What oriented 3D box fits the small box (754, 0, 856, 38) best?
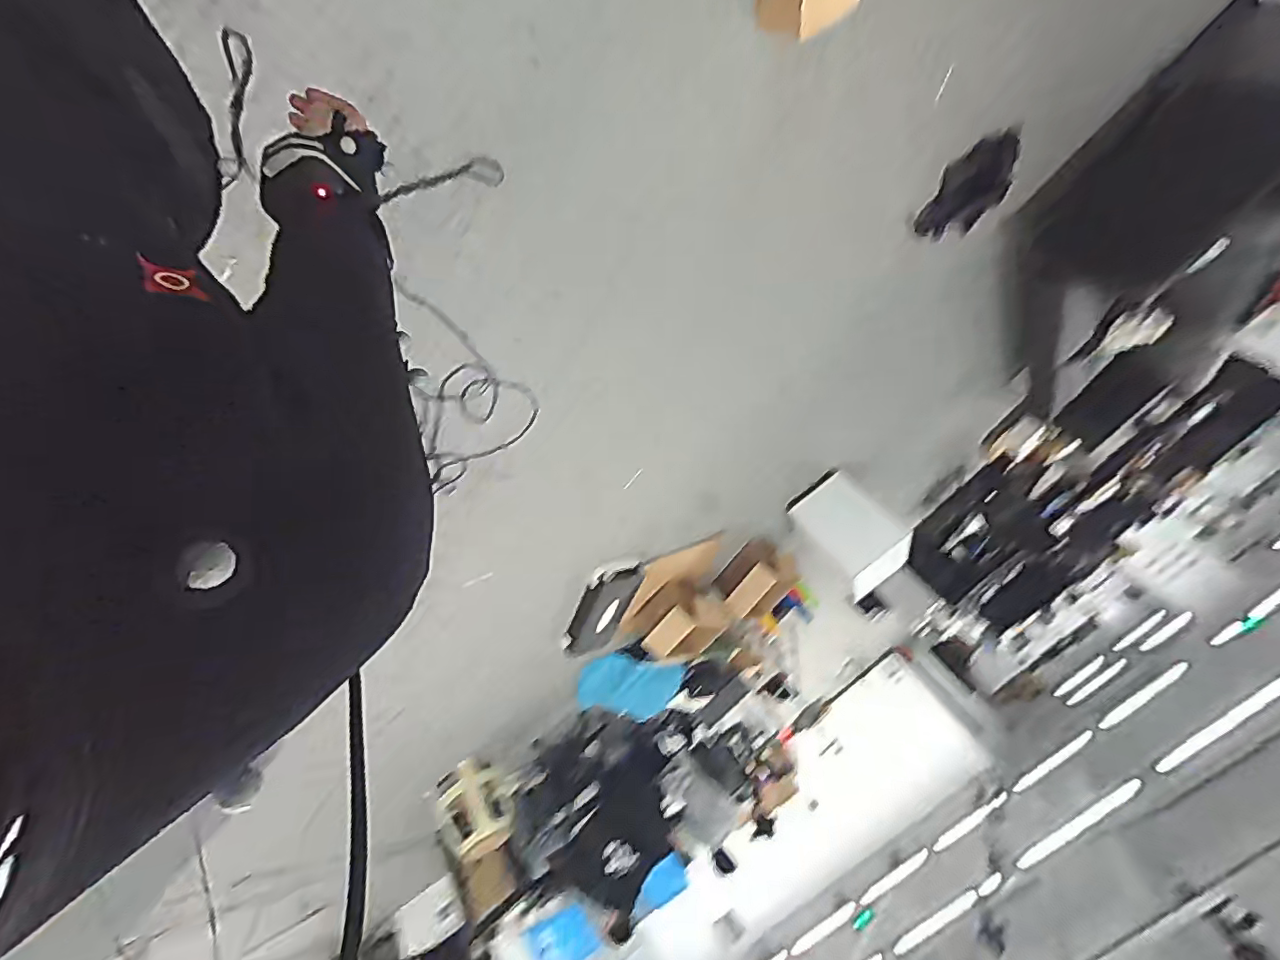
[{"bbox_3d":[0.373,-1.150,1.215,0.179,0.176,0.168,-36,147,-3],"label":"small box"}]
